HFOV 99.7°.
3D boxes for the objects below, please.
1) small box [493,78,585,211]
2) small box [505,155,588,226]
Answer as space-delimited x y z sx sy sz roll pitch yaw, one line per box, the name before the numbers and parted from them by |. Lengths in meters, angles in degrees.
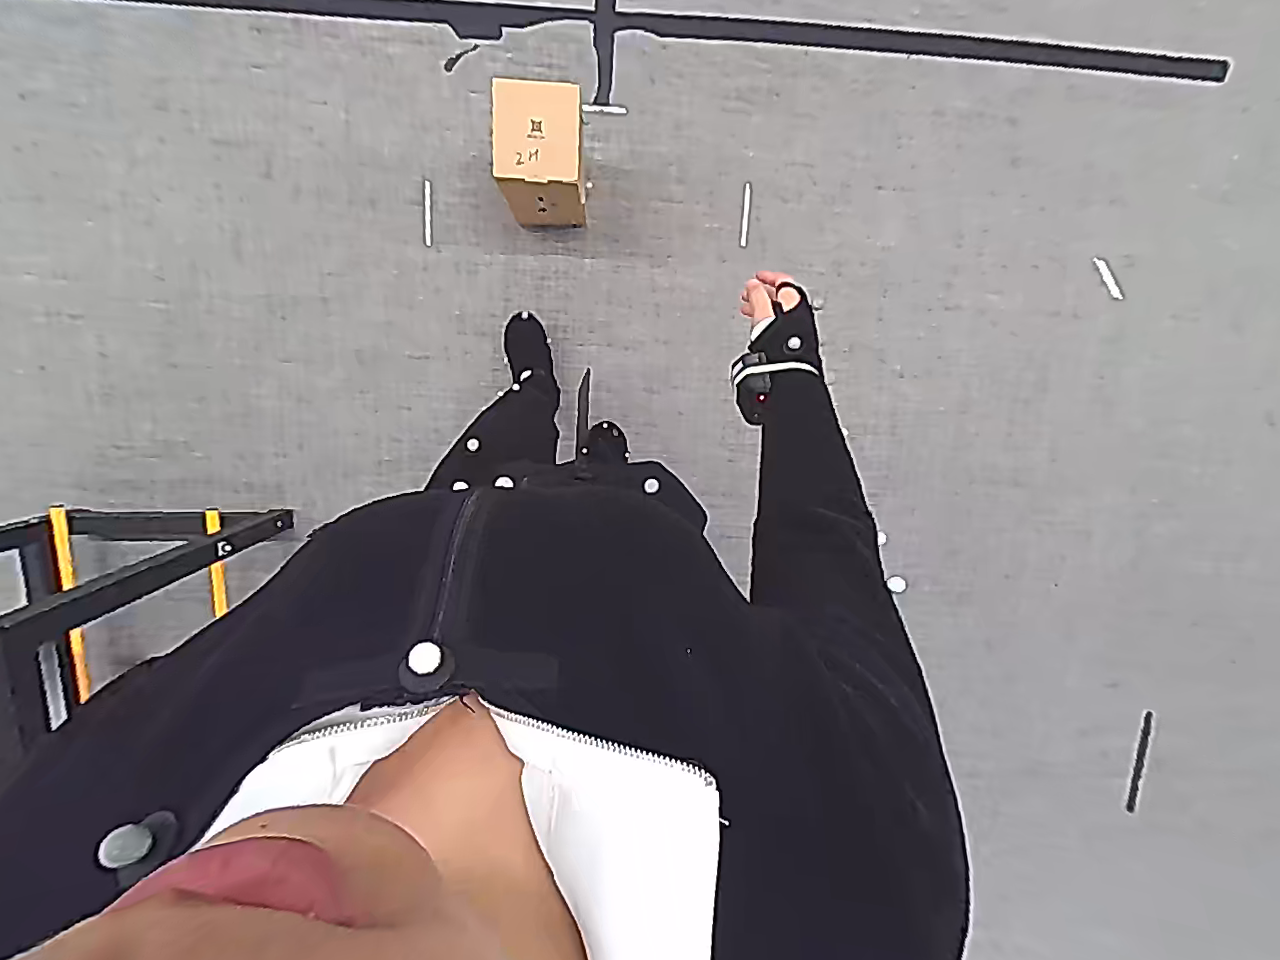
small box | -0.201 -0.673 1.104 0.168 0.176 0.179 2 101 -4
small box | -0.216 -0.703 1.265 0.179 0.176 0.168 -2 101 -4
